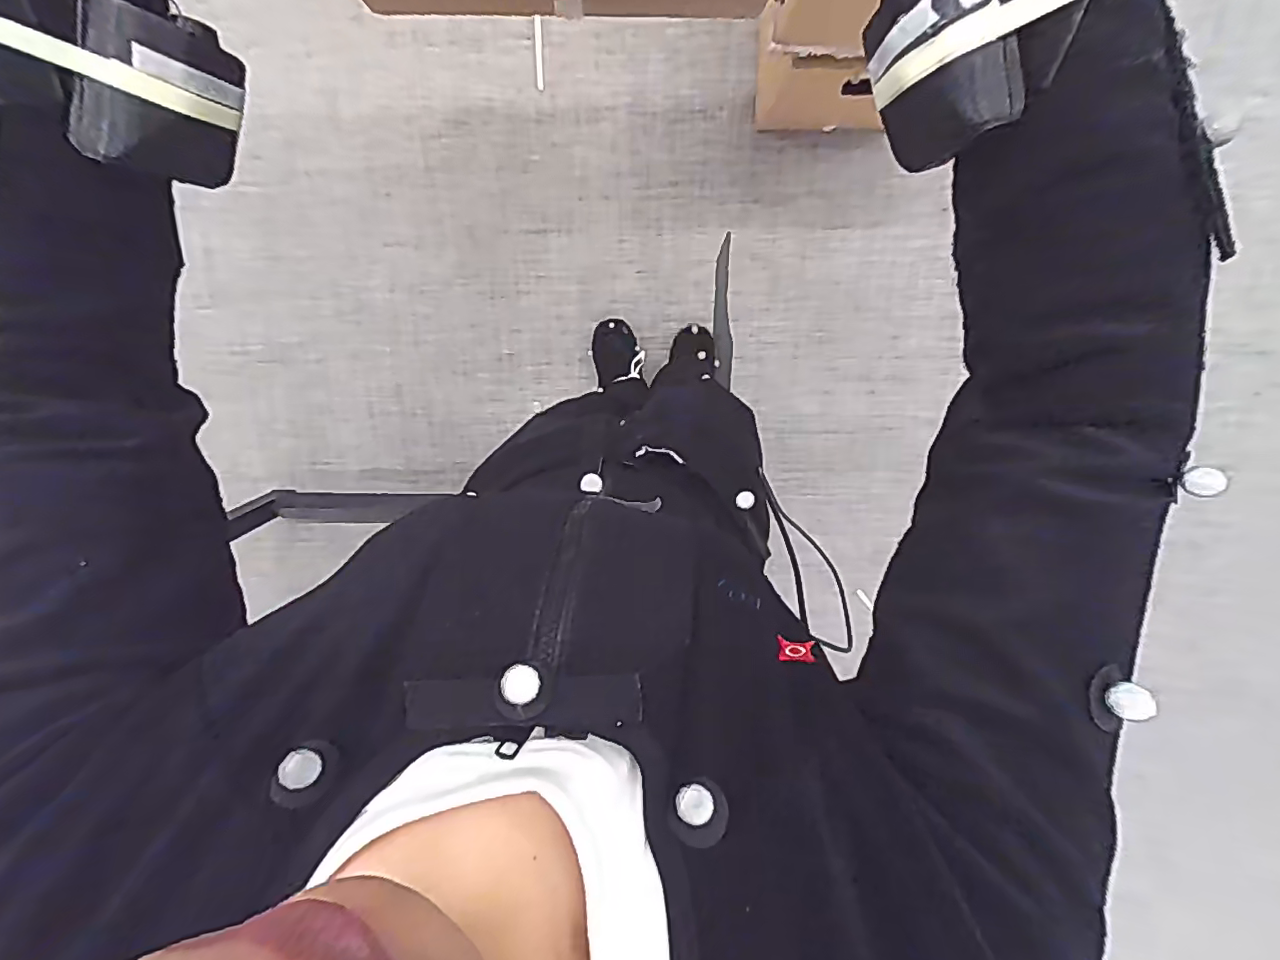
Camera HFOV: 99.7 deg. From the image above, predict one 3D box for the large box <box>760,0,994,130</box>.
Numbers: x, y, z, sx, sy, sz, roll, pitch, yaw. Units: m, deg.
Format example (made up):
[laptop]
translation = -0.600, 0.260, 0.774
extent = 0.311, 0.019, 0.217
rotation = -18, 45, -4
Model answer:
[large box]
translation = 0.400, -0.899, 0.959
extent = 0.320, 0.320, 0.408
rotation = -1, 108, 2
